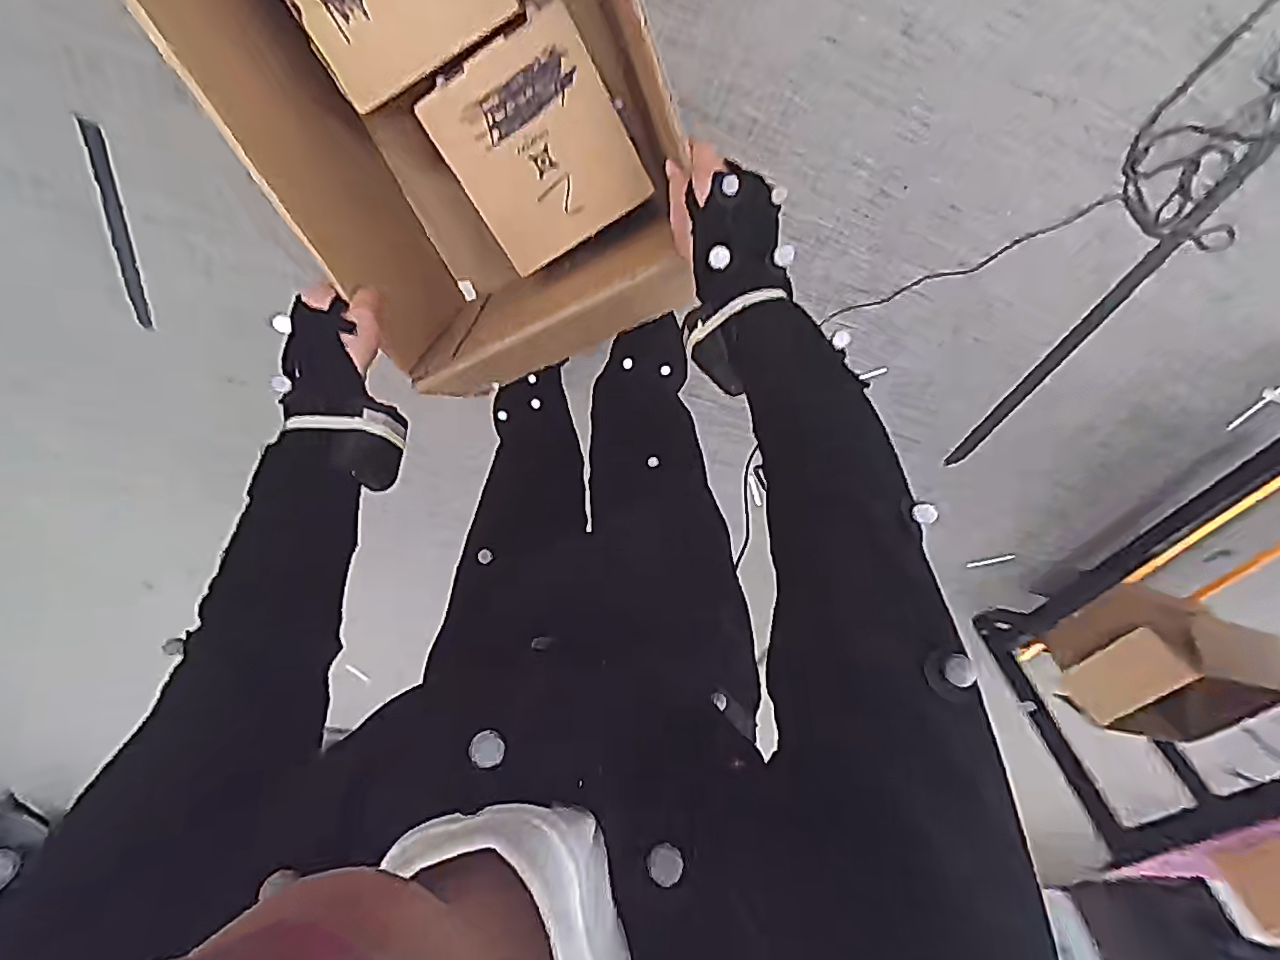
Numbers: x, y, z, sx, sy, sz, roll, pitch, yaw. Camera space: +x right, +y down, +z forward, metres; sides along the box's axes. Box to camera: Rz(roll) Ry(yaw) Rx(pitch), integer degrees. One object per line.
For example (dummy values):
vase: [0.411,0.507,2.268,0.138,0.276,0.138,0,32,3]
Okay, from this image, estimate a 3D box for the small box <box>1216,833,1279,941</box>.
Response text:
small box: [1.509,0.941,1.248,0.168,0.176,0.179,17,127,-20]
